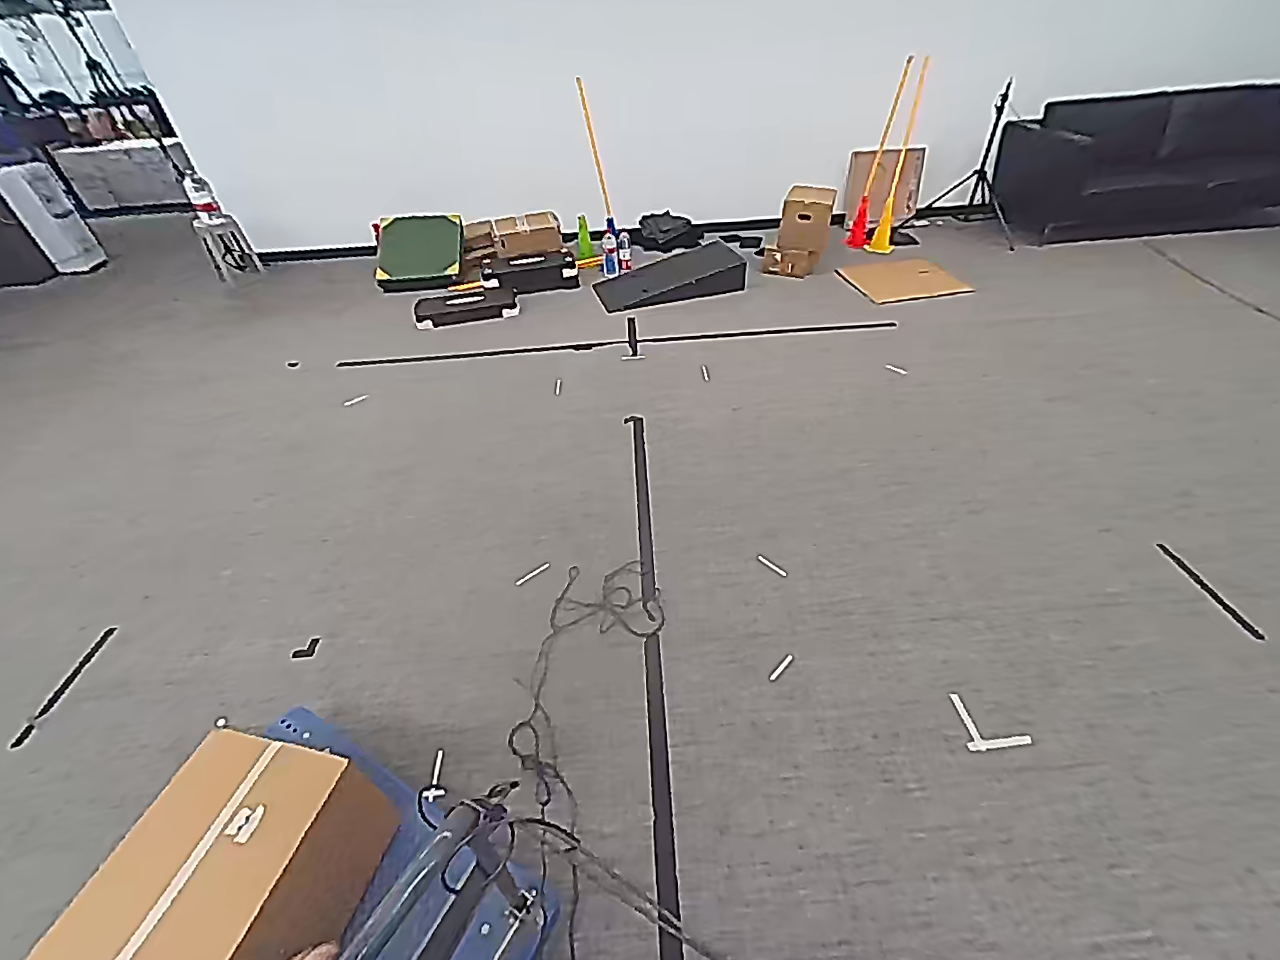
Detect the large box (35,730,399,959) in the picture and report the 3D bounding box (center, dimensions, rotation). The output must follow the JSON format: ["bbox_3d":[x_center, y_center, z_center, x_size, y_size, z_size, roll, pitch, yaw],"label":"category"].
[{"bbox_3d":[-0.734,0.759,1.008,0.320,0.320,0.408,7,42,11],"label":"large box"}]
